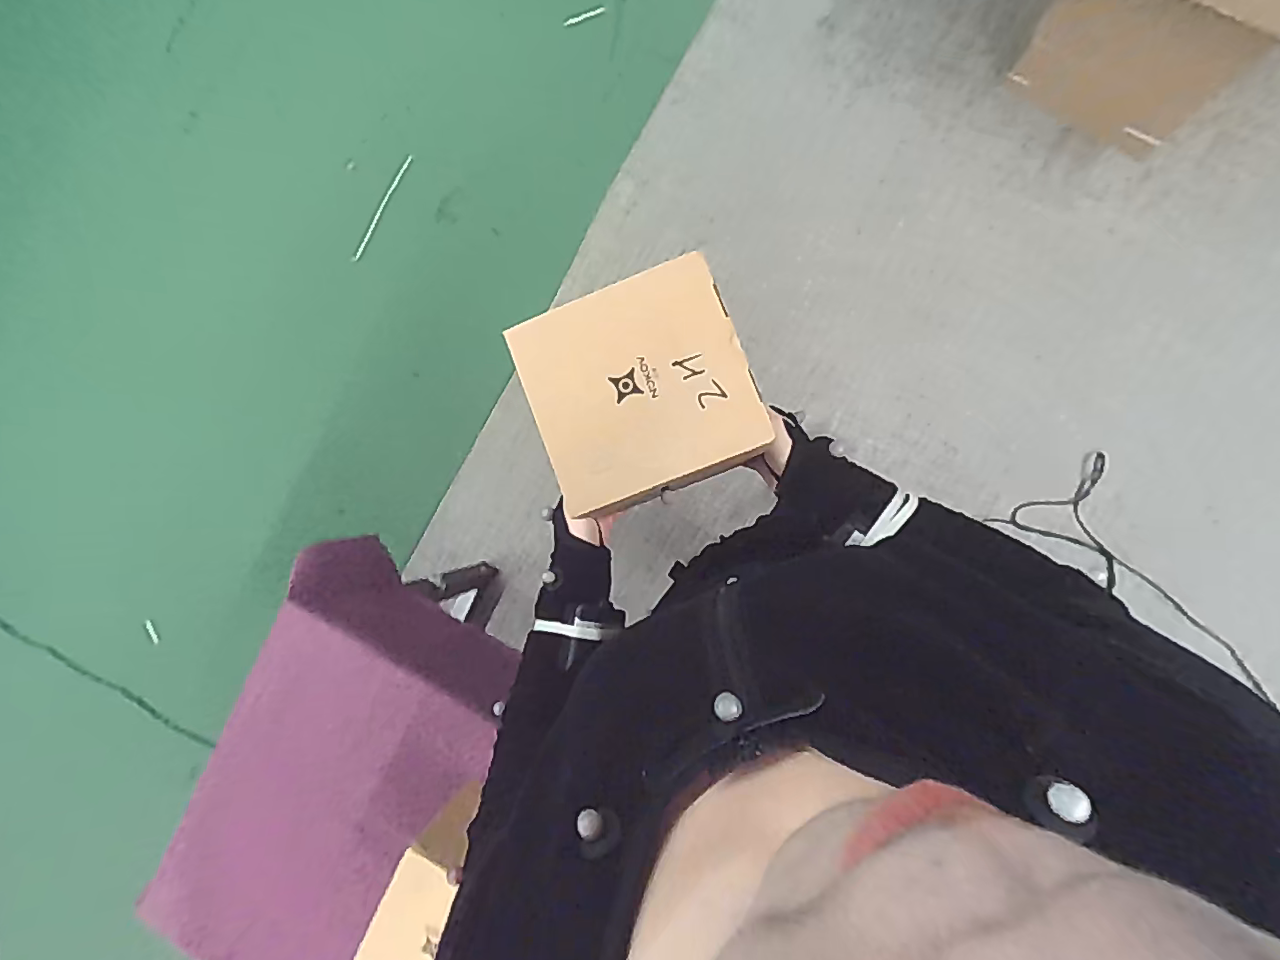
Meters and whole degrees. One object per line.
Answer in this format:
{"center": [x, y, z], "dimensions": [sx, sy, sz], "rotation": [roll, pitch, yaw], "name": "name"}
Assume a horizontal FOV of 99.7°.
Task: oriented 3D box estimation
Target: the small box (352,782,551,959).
{"center": [-0.240, 0.561, 0.739], "dimensions": [0.168, 0.176, 0.179], "rotation": [27, 92, 9], "name": "small box"}

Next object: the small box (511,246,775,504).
{"center": [0.007, -0.078, 0.509], "dimensions": [0.179, 0.176, 0.168], "rotation": [-20, 86, 3], "name": "small box"}
